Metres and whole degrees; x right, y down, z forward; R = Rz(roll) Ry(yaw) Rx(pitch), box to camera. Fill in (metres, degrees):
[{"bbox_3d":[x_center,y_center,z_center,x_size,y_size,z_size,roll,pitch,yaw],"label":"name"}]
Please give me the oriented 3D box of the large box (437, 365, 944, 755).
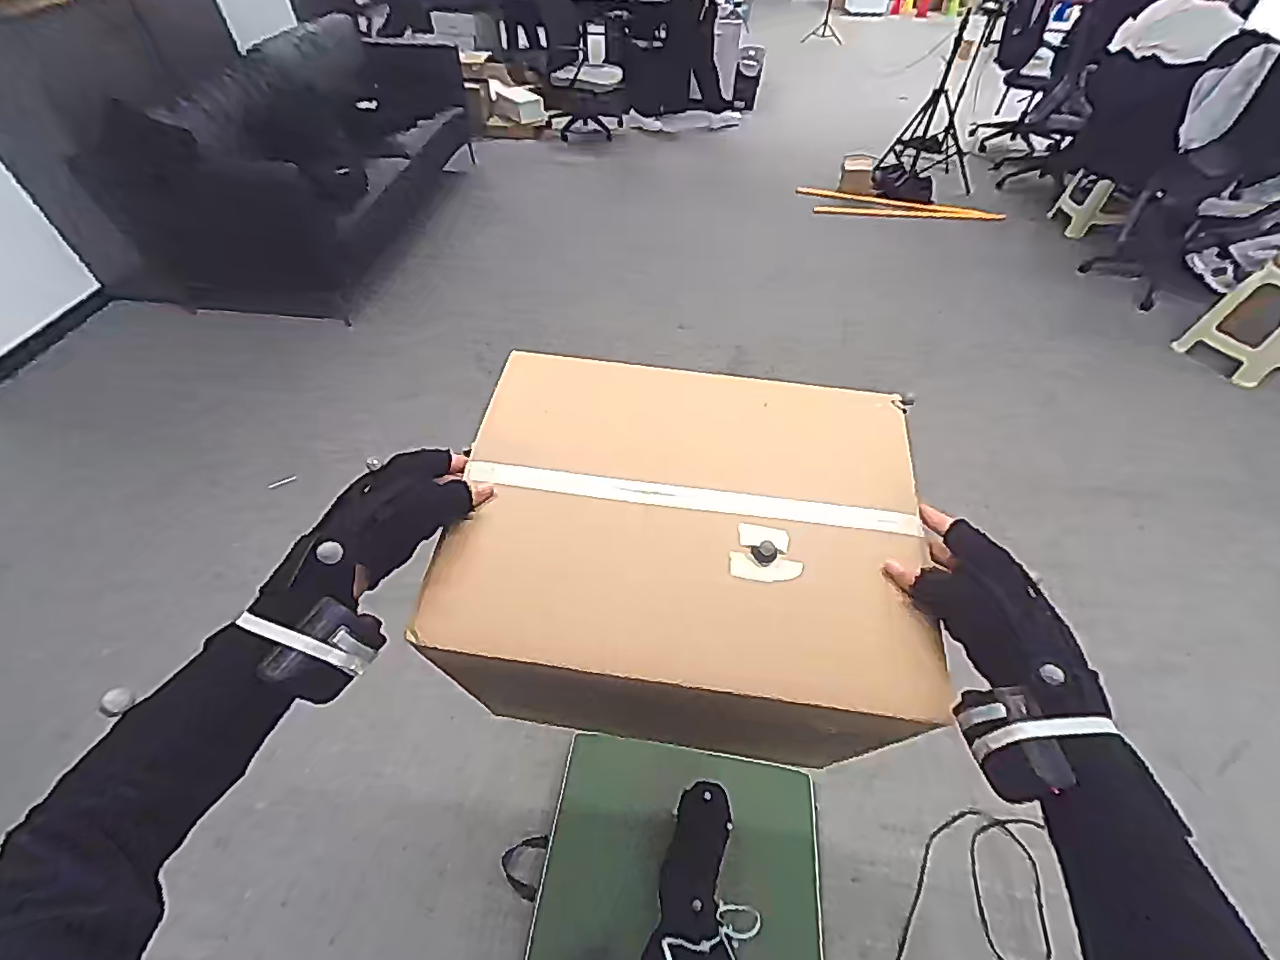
[{"bbox_3d":[0.047,0.104,0.620,0.408,0.320,0.320,7,58,3],"label":"large box"}]
